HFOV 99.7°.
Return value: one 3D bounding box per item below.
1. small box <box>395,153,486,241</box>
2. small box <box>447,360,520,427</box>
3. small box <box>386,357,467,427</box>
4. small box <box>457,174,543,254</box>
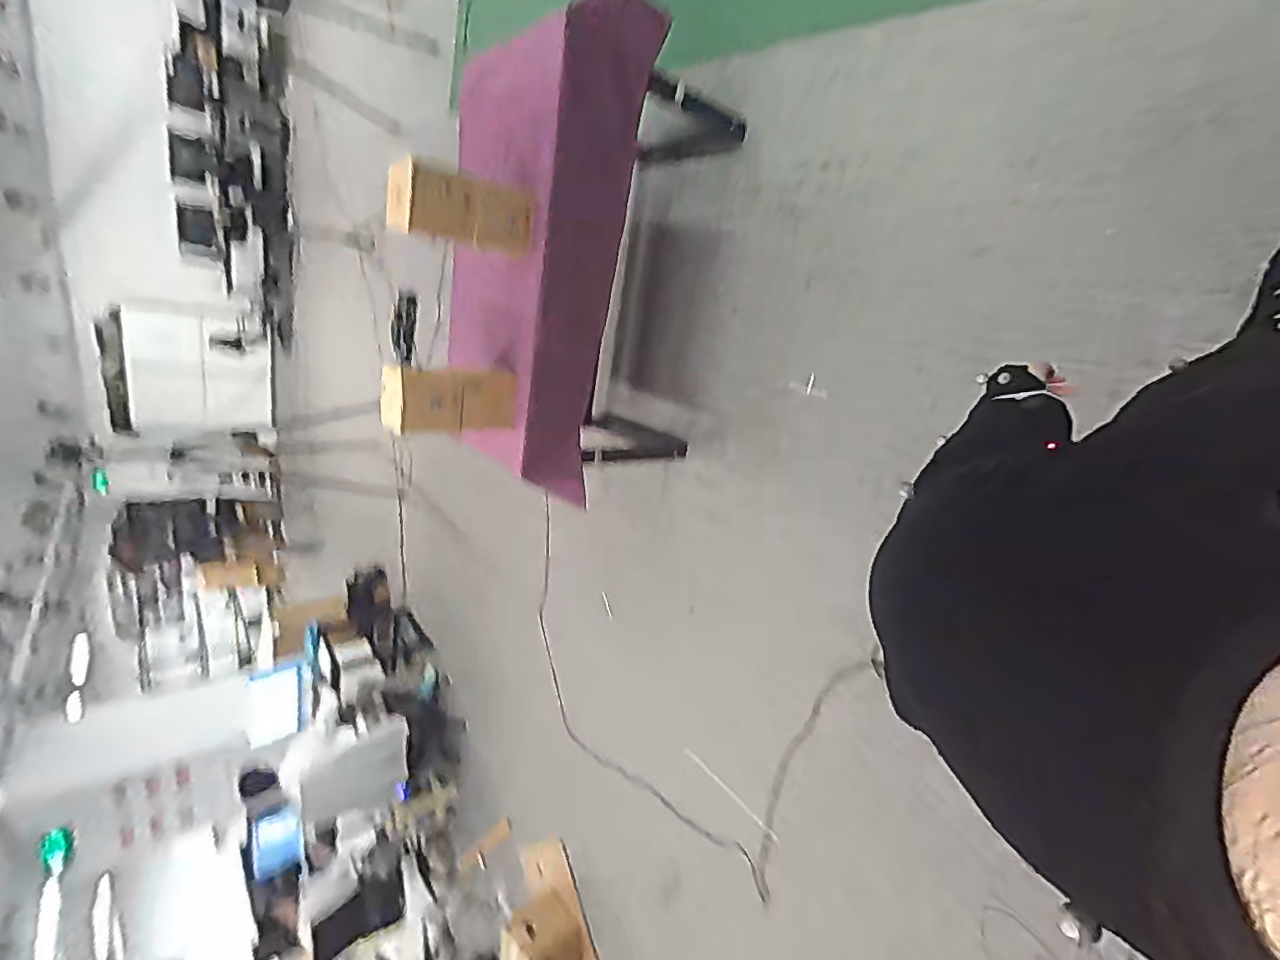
[{"bbox_3d":[-0.514,-0.726,1.394,0.179,0.176,0.168,31,116,44],"label":"small box"},{"bbox_3d":[-0.480,-0.260,1.644,0.168,0.176,0.179,24,110,46],"label":"small box"},{"bbox_3d":[-0.607,-0.249,1.540,0.179,0.176,0.168,24,109,45],"label":"small box"},{"bbox_3d":[-0.388,-0.733,1.498,0.179,0.176,0.168,29,114,44],"label":"small box"}]
